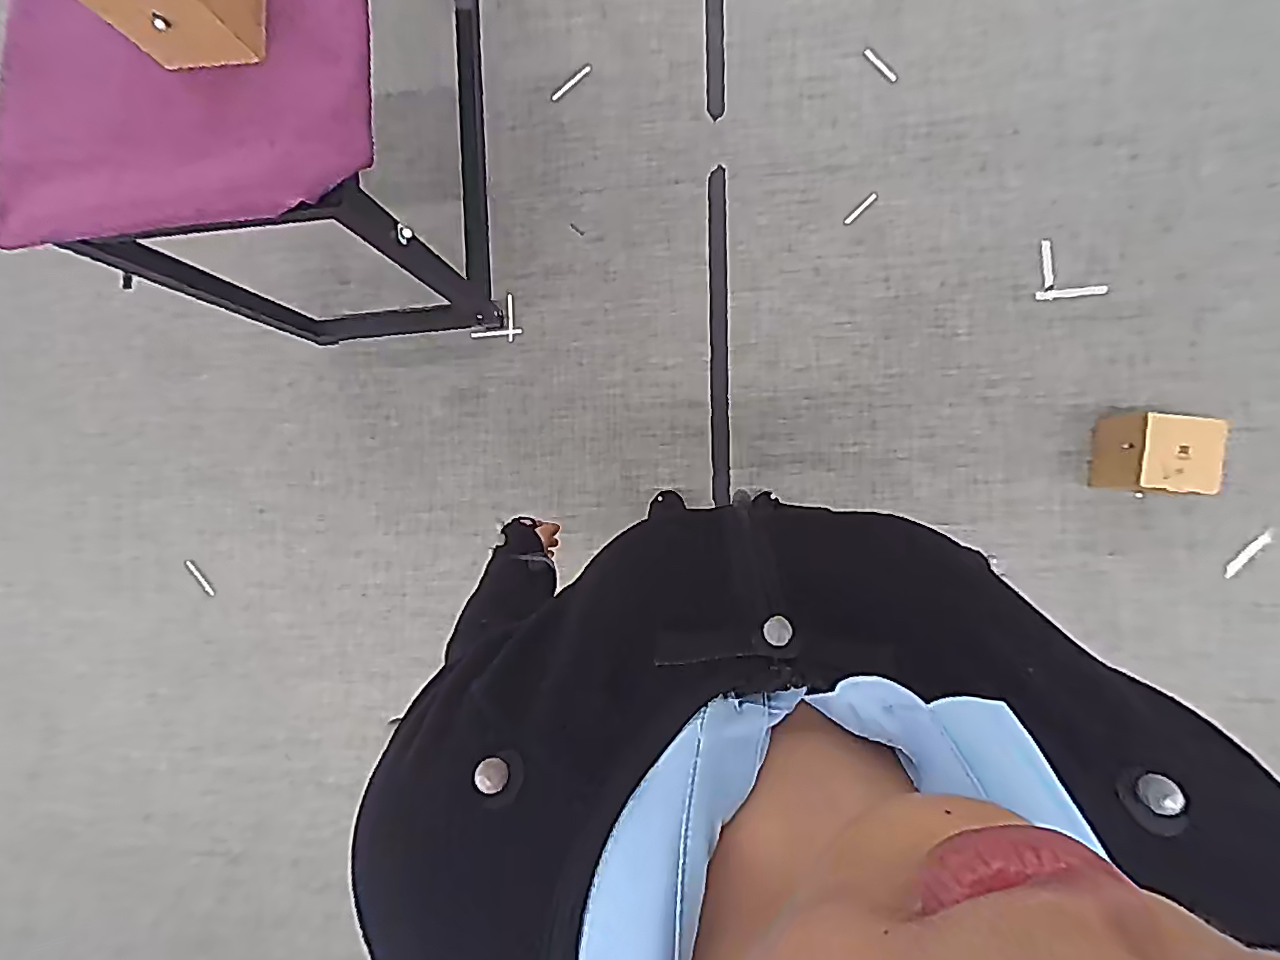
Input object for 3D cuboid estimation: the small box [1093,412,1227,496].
[{"bbox_3d":[1.248,-0.058,1.311,0.168,0.176,0.179,7,90,7],"label":"small box"}]
